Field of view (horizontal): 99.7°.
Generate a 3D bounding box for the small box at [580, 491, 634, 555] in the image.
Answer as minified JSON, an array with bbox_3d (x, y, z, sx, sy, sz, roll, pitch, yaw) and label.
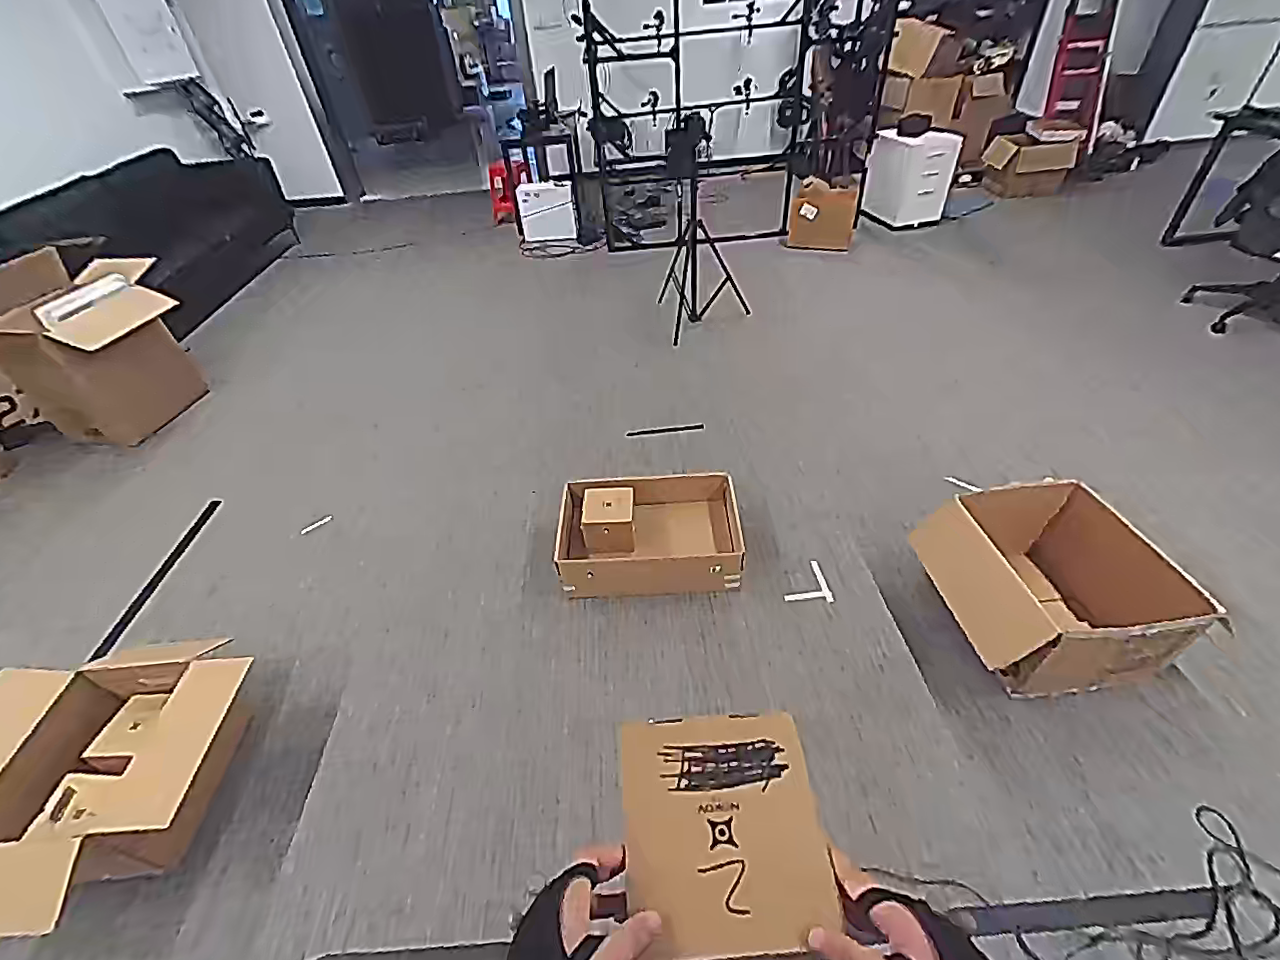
[{"bbox_3d":[-0.114,0.157,1.945,0.179,0.176,0.168,-2,44,1],"label":"small box"}]
